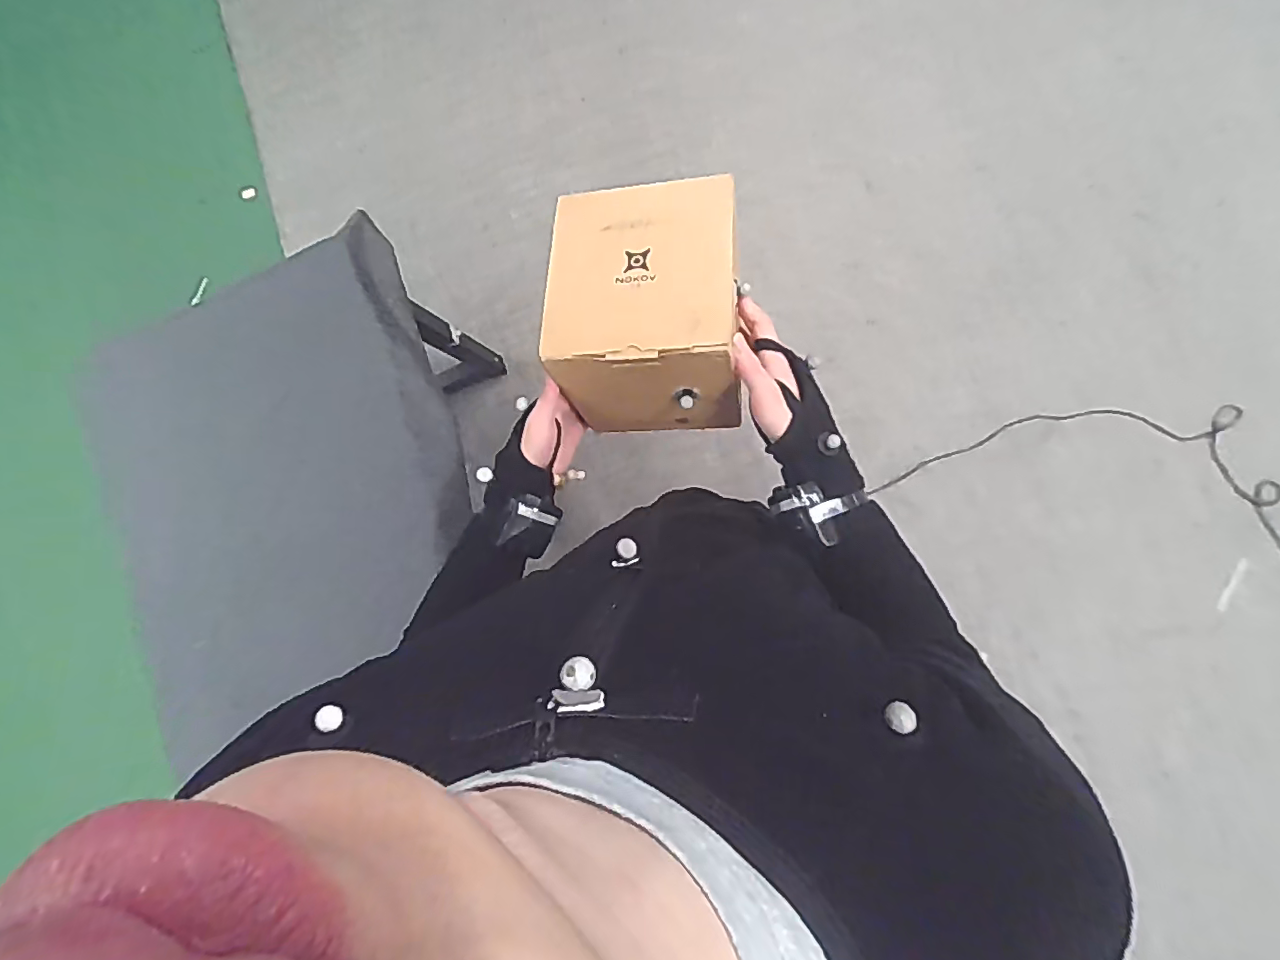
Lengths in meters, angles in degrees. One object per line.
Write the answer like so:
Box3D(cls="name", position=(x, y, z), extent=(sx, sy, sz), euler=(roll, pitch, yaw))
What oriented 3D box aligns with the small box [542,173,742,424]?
Box3D(cls="small box", position=(0.016, -0.163, 0.541), extent=(0.168, 0.176, 0.179), euler=(0, 72, 11))
